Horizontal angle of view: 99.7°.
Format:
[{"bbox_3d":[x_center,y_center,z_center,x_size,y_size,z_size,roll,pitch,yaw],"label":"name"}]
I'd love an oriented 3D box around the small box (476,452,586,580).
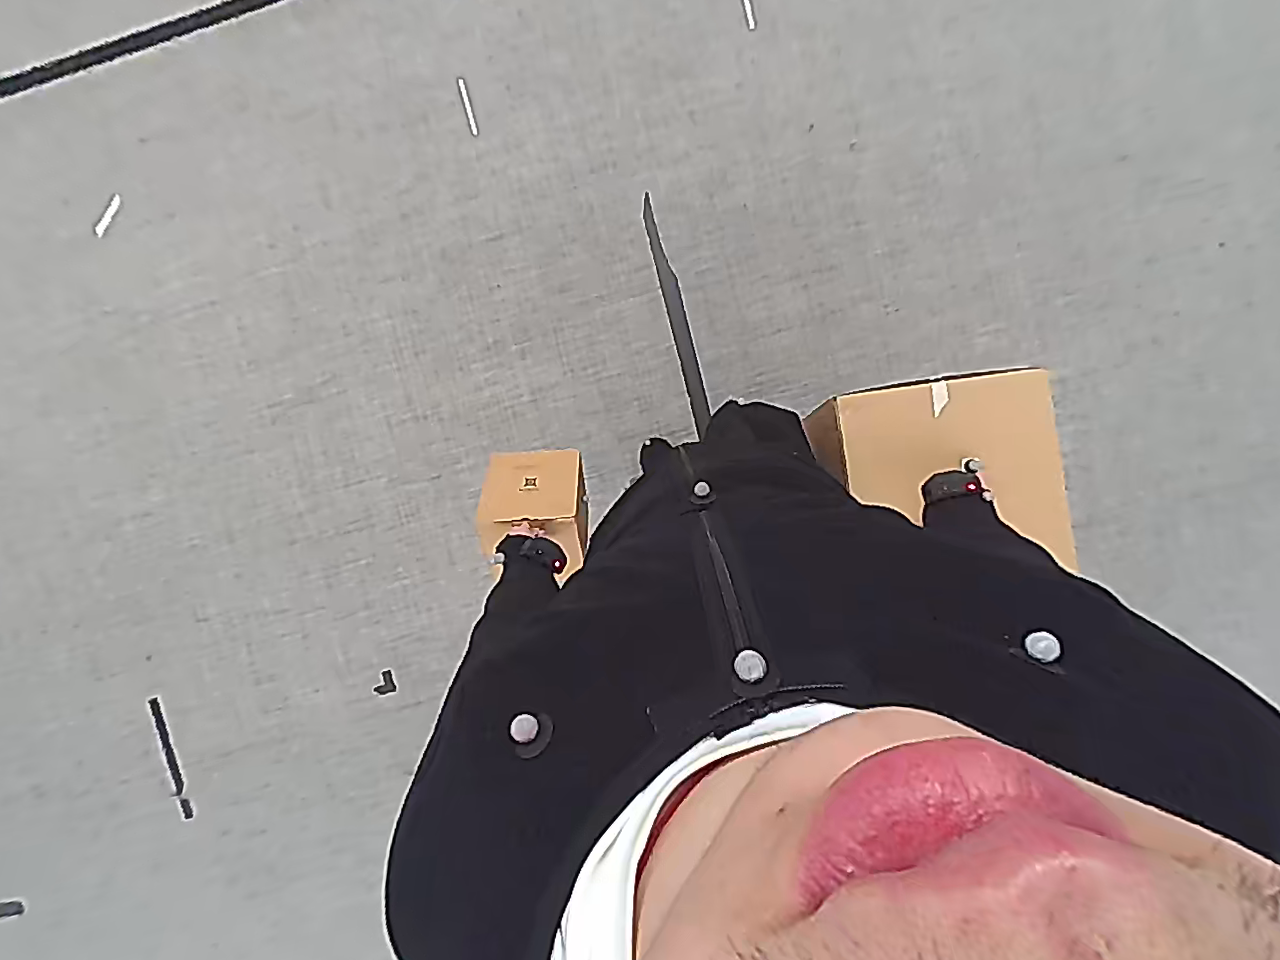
[{"bbox_3d":[-0.187,0.070,0.990,0.168,0.179,0.176,-2,133,-2],"label":"small box"}]
